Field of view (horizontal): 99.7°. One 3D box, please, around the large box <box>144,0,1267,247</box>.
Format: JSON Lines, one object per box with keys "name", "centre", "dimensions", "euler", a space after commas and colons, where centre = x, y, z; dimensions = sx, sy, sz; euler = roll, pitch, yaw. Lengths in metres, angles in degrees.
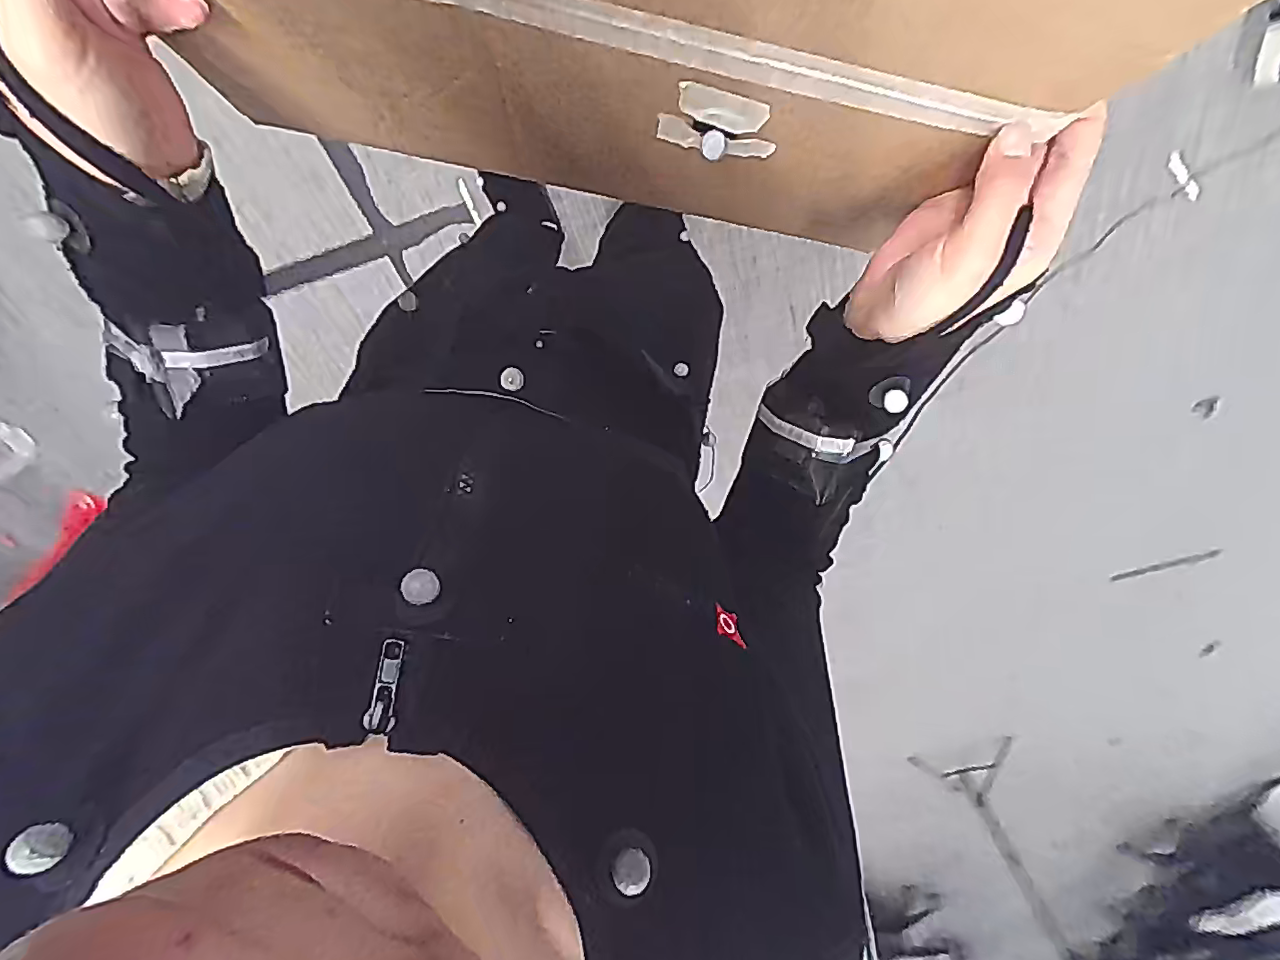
{"name": "large box", "centre": [0.005, -0.328, 0.198], "dimensions": [0.408, 0.320, 0.320], "euler": [9, 95, -7]}
